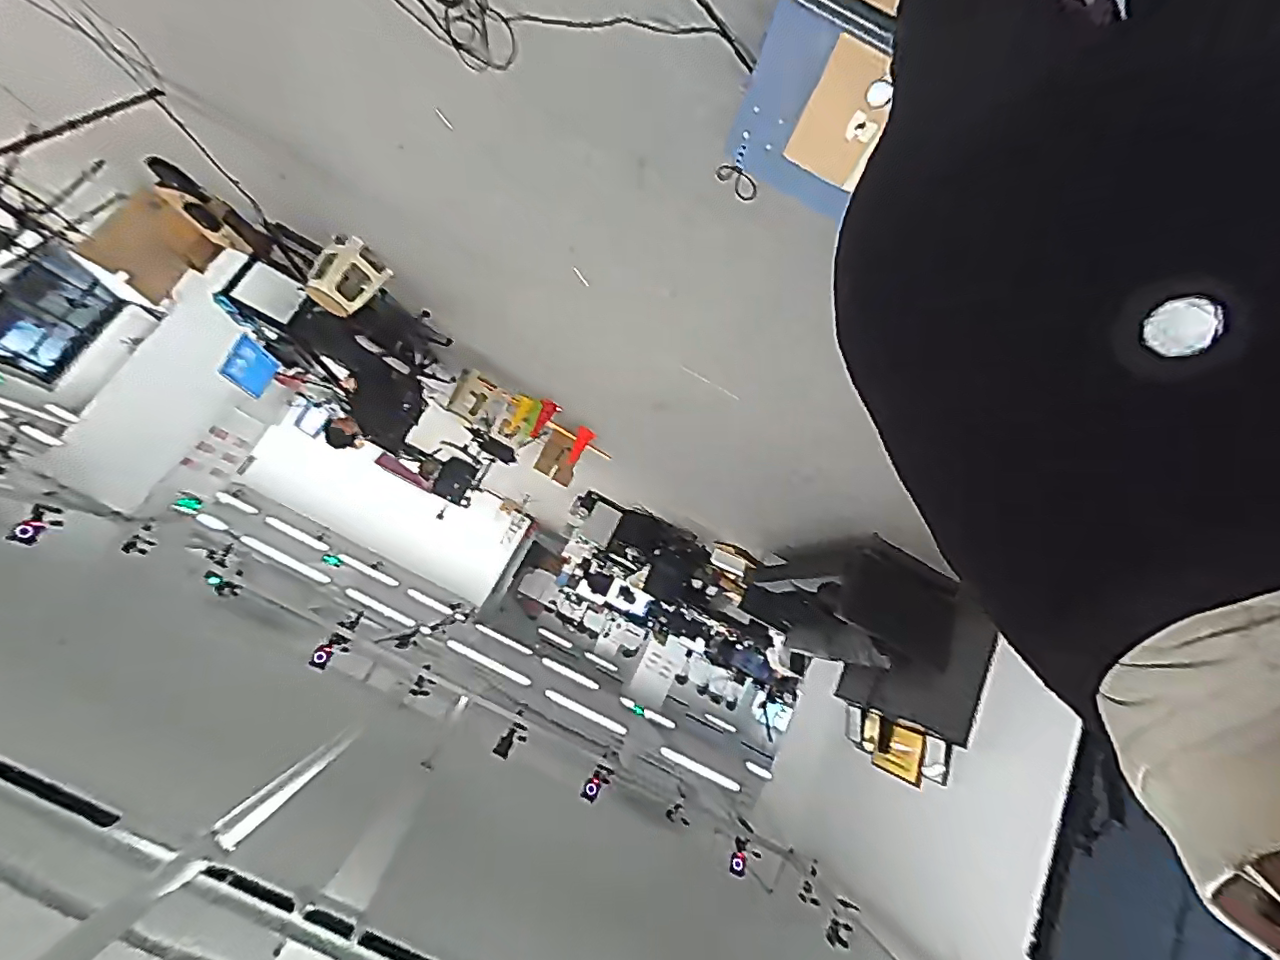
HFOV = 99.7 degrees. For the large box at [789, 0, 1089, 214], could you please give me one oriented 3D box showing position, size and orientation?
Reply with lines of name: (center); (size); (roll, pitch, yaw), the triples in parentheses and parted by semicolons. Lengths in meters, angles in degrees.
large box: (0.537, -0.803, 0.992); (0.320, 0.320, 0.408); (28, 166, -1)
